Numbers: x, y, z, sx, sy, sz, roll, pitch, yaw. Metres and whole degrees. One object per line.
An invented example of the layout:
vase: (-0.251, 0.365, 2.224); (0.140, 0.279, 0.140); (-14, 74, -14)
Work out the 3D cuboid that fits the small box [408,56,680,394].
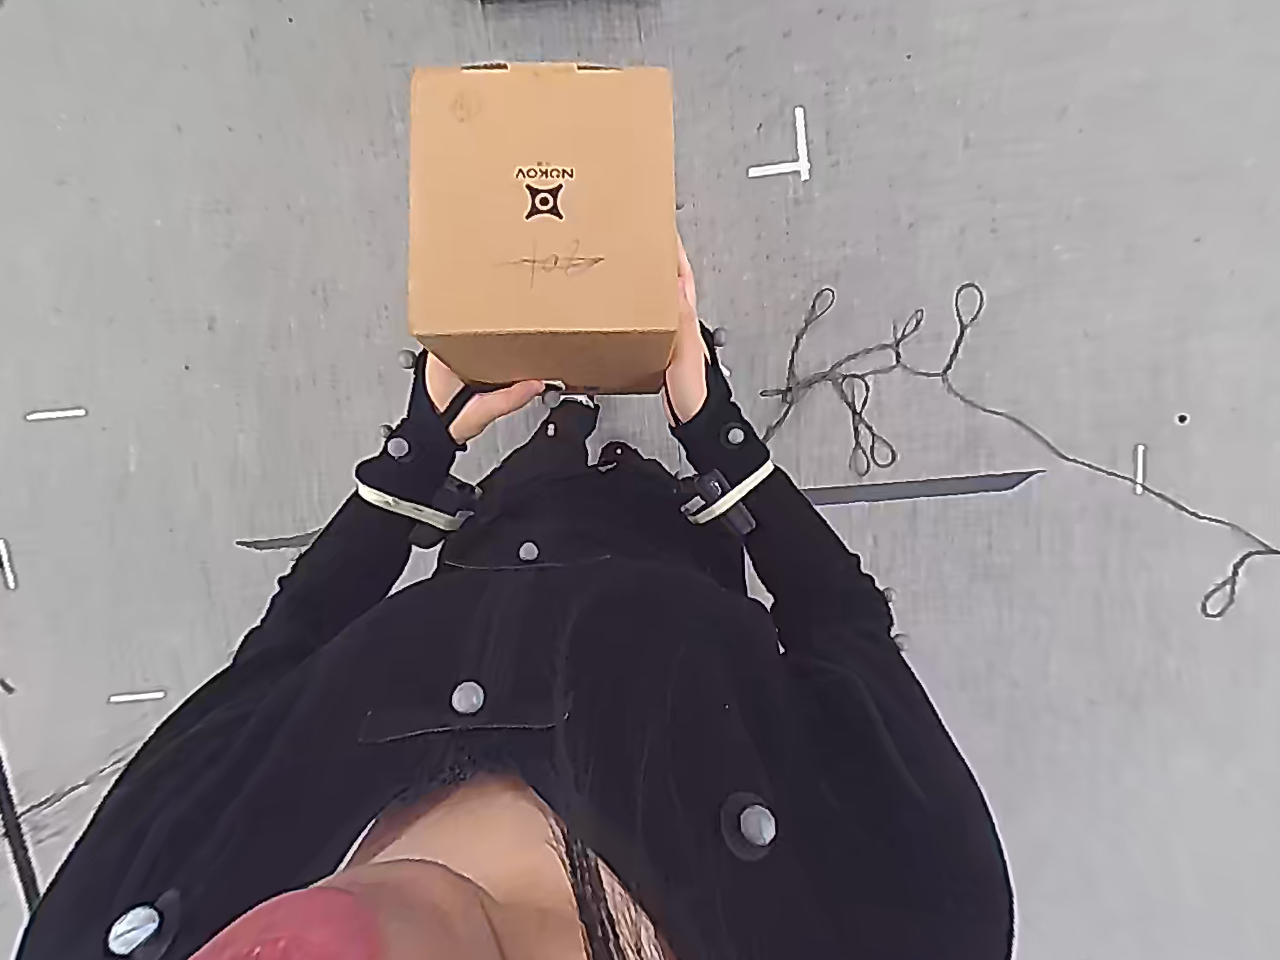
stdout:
small box: (-0.061, -0.172, 0.413); (0.168, 0.176, 0.179); (-1, 86, -2)
